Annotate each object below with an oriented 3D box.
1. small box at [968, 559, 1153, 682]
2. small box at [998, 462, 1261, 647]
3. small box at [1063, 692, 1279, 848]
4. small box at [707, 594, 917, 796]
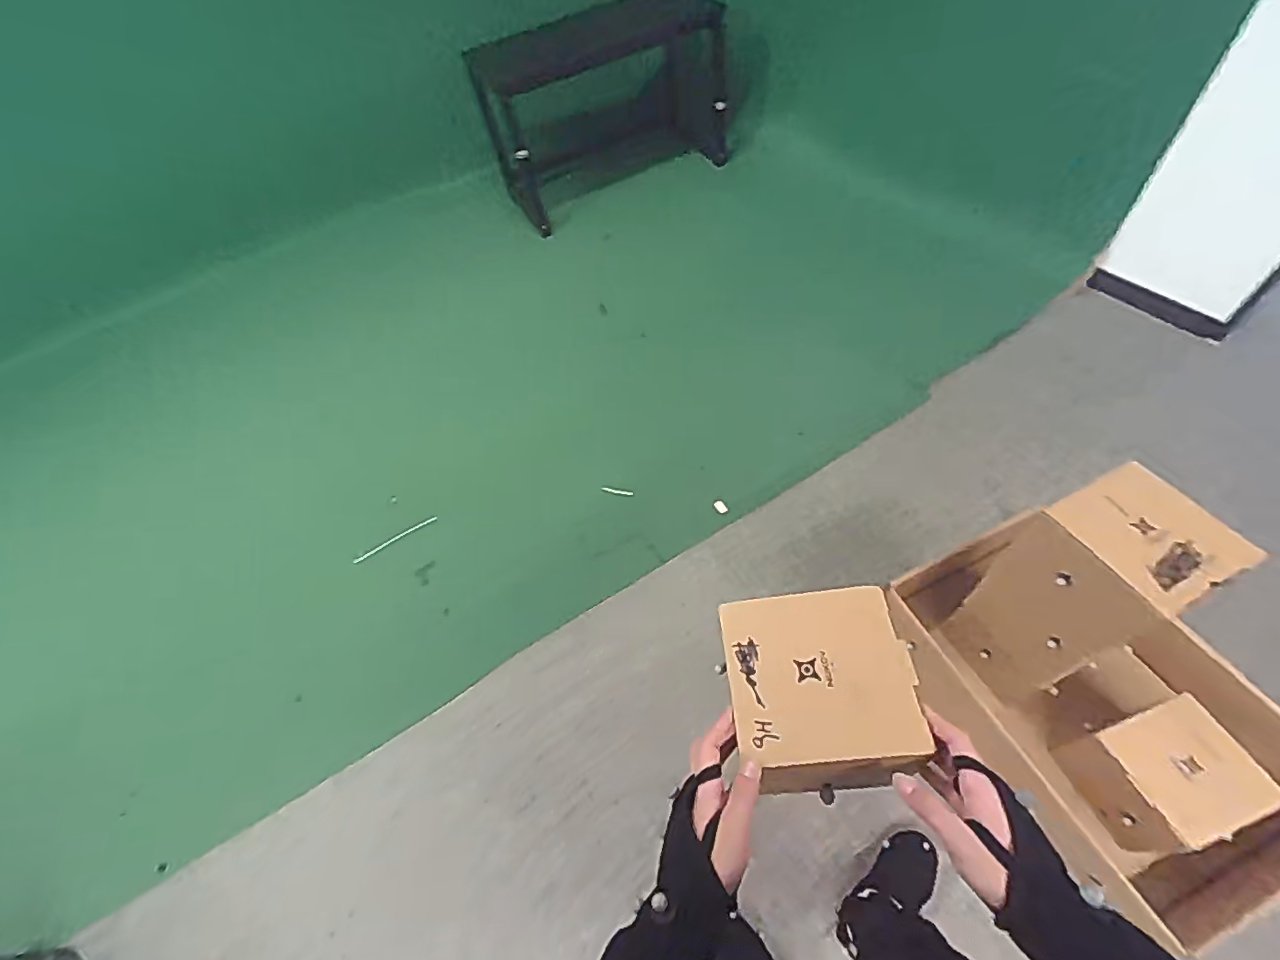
[{"bbox_3d":[0.688,0.204,0.890,0.168,0.176,0.179,-24,56,-6],"label":"small box"},{"bbox_3d":[0.658,0.113,0.756,0.168,0.176,0.179,-26,55,-7],"label":"small box"},{"bbox_3d":[0.837,0.473,0.874,0.179,0.176,0.168,-21,55,-4],"label":"small box"},{"bbox_3d":[0.174,0.245,0.602,0.179,0.176,0.168,-9,52,7],"label":"small box"}]
